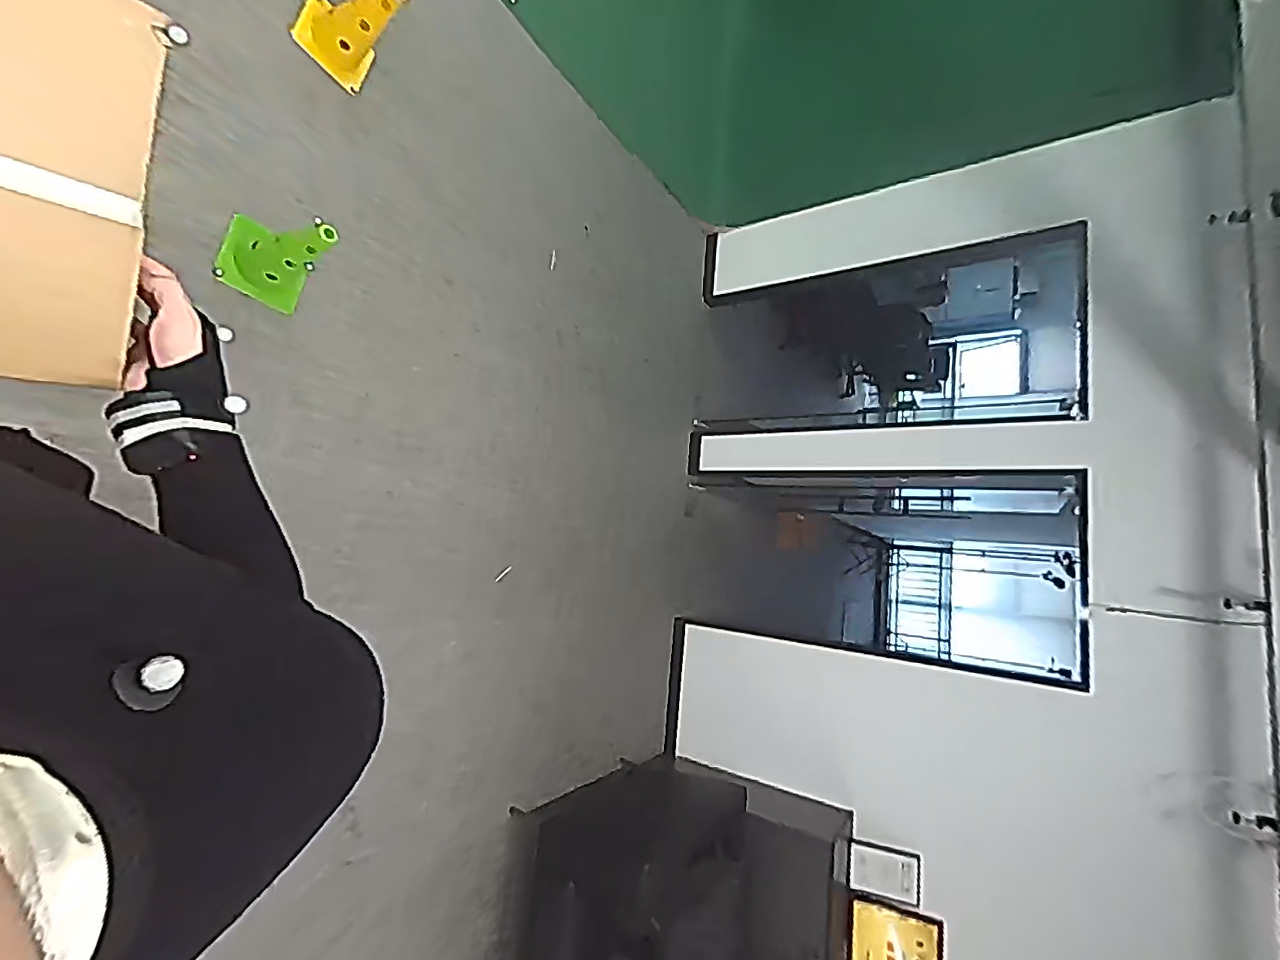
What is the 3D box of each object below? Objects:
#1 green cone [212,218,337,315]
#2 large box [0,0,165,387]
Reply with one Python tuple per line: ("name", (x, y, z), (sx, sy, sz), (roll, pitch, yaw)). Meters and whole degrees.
("green cone", (-0.897, -0.587, 1.397), (0.200, 0.368, 0.202), (26, 67, -54))
("large box", (-0.662, -0.279, 0.391), (0.408, 0.320, 0.320), (1, 110, -55))
